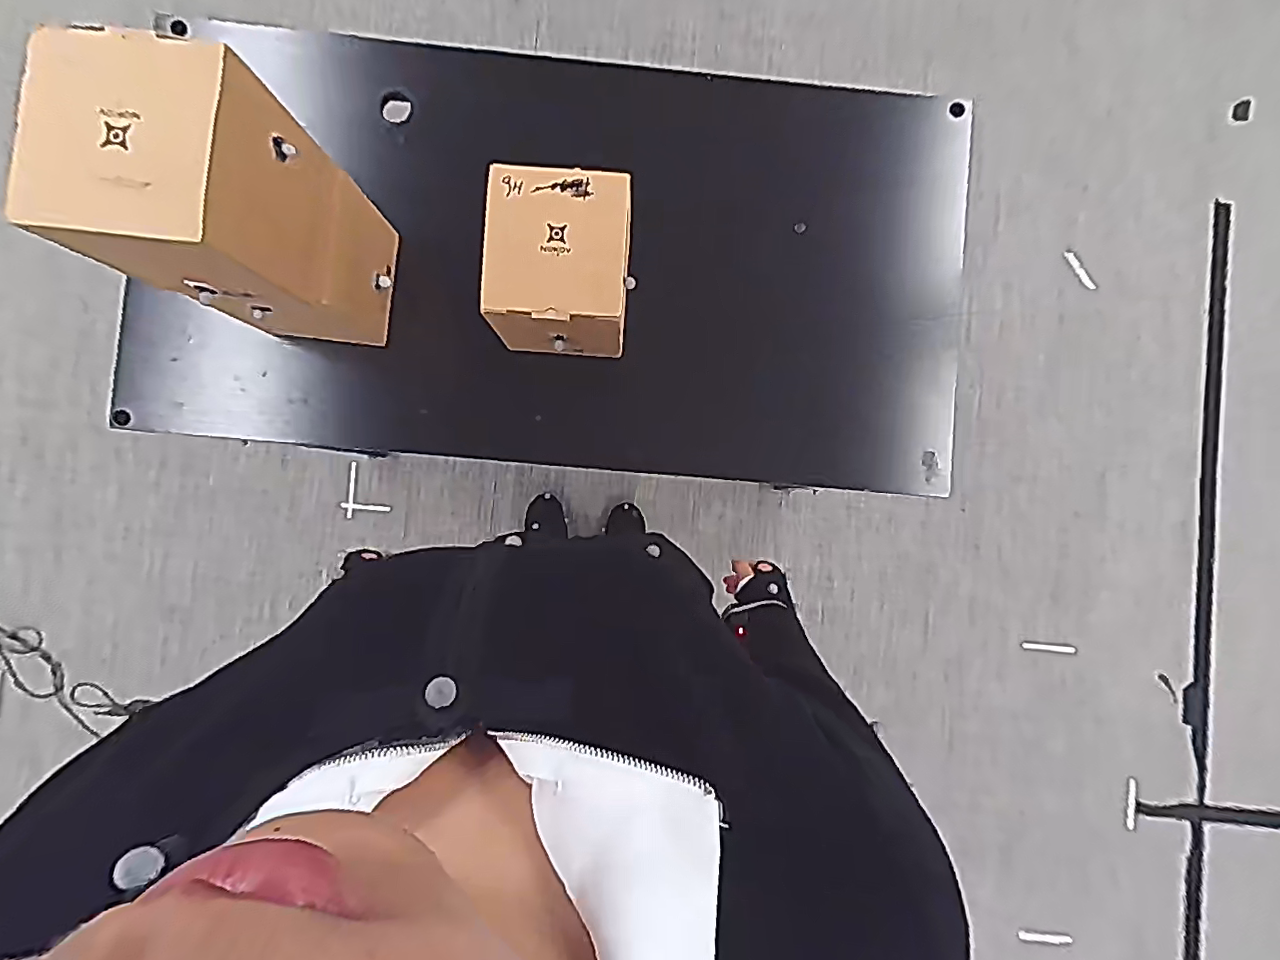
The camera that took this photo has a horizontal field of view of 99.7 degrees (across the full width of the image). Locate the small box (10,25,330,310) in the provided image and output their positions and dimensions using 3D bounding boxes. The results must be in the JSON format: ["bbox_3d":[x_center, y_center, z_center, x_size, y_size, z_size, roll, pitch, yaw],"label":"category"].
[{"bbox_3d":[-0.438,-0.289,0.536,0.168,0.176,0.179,5,88,0],"label":"small box"}]

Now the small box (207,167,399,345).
[{"bbox_3d":[-0.441,-0.284,0.698,0.179,0.176,0.168,6,88,-3],"label":"small box"}]

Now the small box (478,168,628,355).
[{"bbox_3d":[-0.103,-0.271,0.711,0.168,0.176,0.179,4,88,-1],"label":"small box"}]
